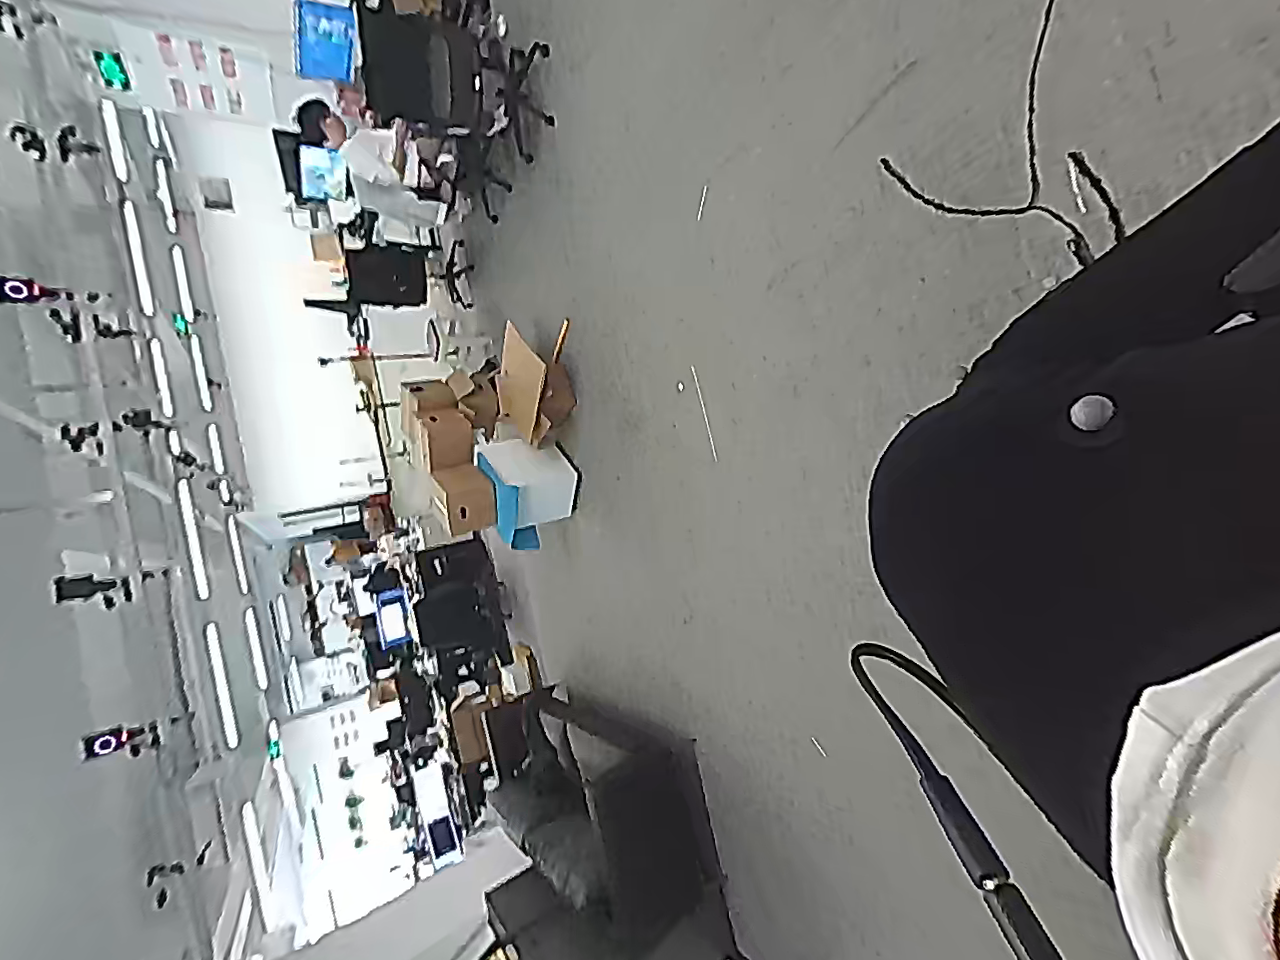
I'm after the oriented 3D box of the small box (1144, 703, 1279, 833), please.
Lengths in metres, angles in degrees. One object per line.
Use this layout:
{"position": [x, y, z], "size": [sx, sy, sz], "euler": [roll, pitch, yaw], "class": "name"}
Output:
{"position": [1.235, 0.603, 1.163], "size": [0.179, 0.176, 0.168], "euler": [-6, 94, 58], "class": "small box"}
